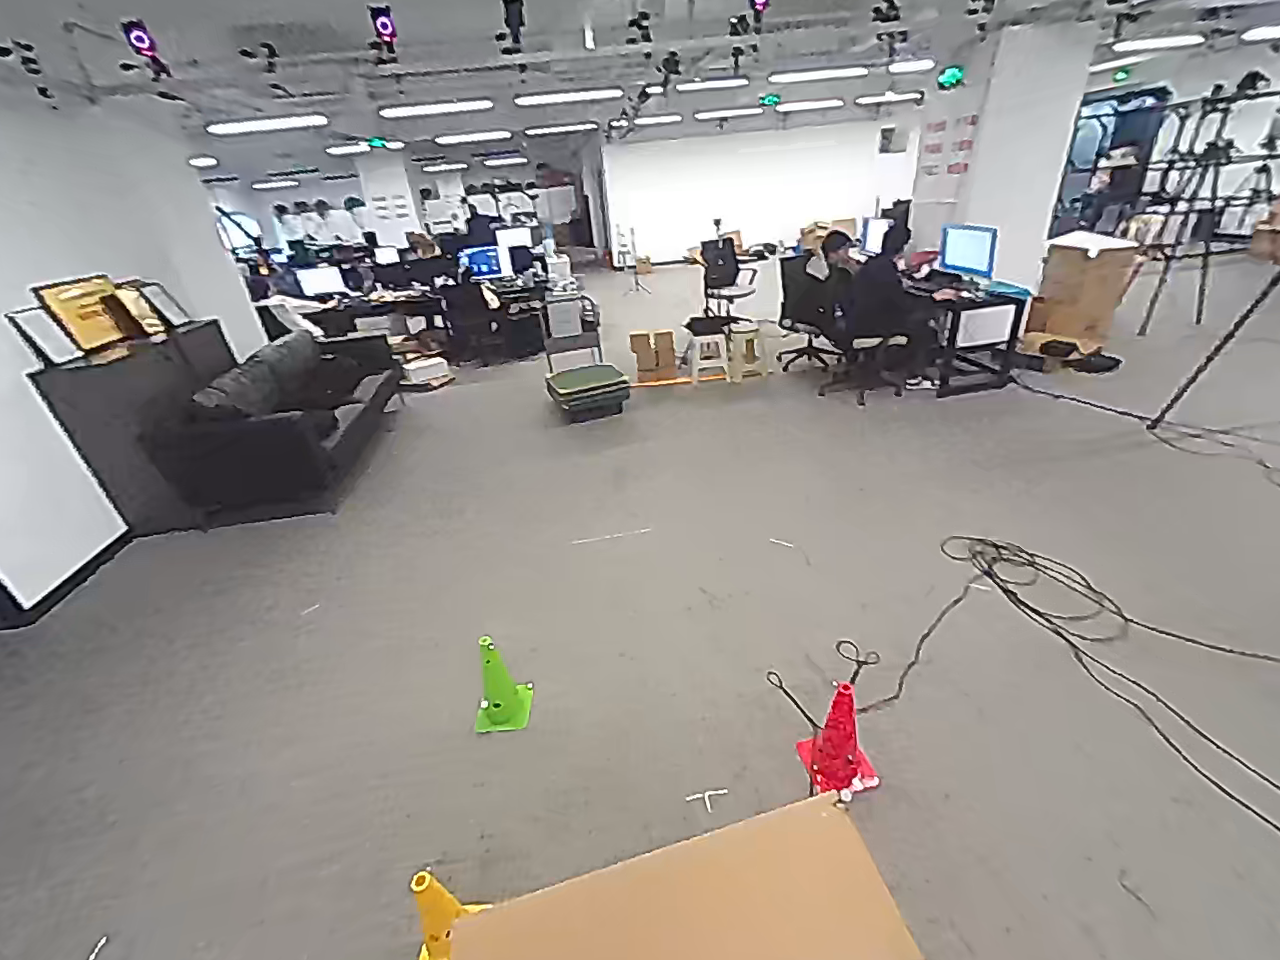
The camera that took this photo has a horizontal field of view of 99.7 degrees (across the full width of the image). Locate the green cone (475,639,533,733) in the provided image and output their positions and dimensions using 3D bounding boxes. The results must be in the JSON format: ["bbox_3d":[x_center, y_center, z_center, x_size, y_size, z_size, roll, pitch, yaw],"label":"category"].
[{"bbox_3d":[-0.535,0.723,1.984,0.200,0.368,0.202,-6,30,1],"label":"green cone"}]

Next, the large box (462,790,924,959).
[{"bbox_3d":[0.069,0.585,0.528,0.408,0.320,0.320,-12,40,-10],"label":"large box"}]
